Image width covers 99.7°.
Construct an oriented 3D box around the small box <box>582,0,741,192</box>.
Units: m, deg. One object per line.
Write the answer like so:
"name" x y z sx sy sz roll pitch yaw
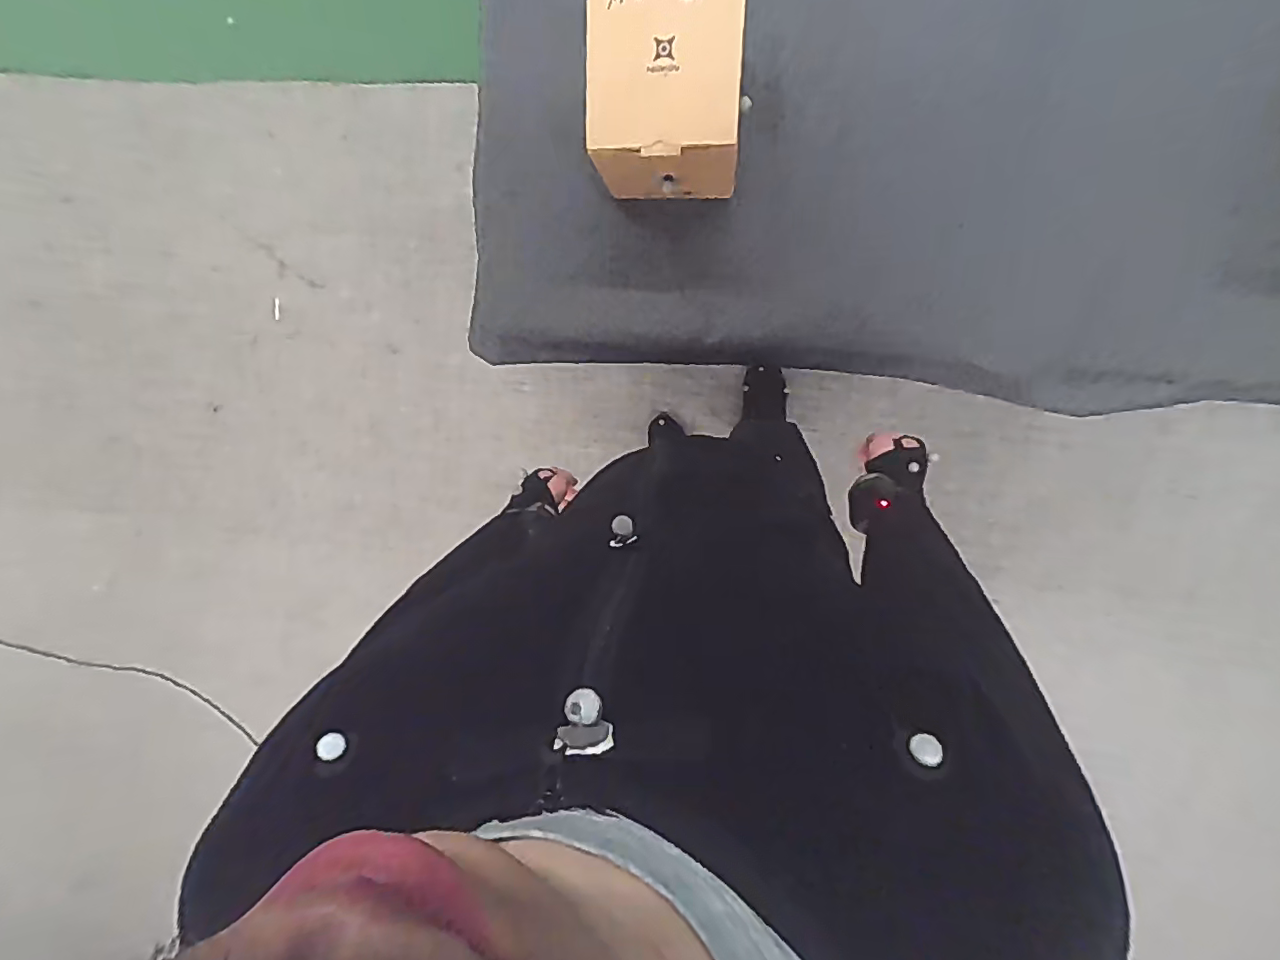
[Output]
"small box" 0.032 -0.457 0.641 0.168 0.176 0.179 3 101 7
